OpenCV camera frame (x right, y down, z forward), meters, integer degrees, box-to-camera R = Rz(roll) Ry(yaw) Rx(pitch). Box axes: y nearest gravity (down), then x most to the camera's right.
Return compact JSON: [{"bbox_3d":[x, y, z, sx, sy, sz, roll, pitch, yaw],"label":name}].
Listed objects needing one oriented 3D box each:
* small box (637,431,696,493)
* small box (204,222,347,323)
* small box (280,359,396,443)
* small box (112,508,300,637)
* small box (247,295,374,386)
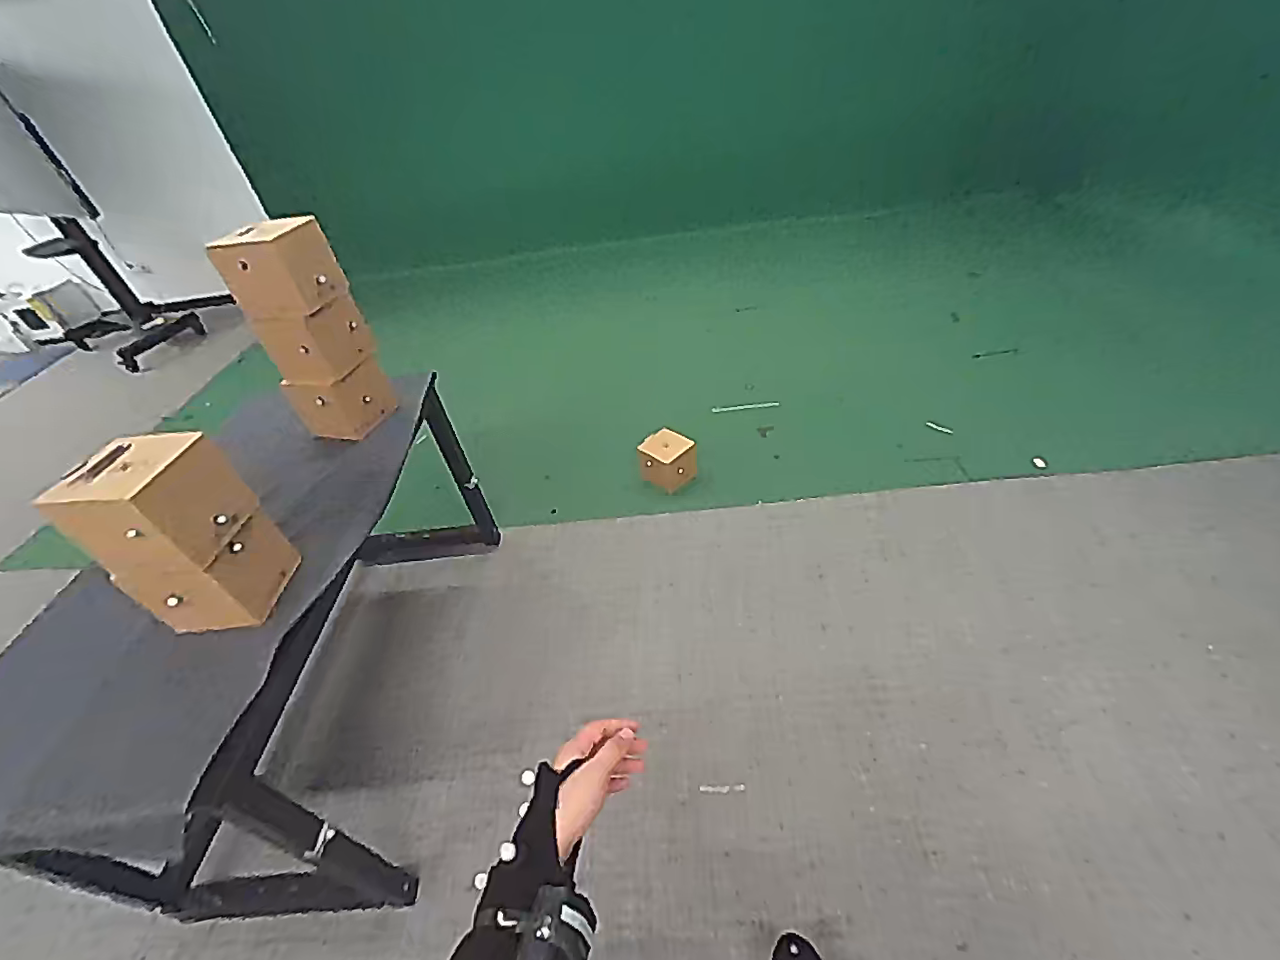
[{"bbox_3d":[0.115,-0.068,2.214,0.168,0.176,0.179,-38,47,-28],"label":"small box"},{"bbox_3d":[-0.826,-0.474,1.246,0.179,0.176,0.168,-1,41,12],"label":"small box"},{"bbox_3d":[-0.793,-0.212,1.440,0.179,0.176,0.168,6,43,21],"label":"small box"},{"bbox_3d":[-0.789,0.176,1.006,0.179,0.176,0.168,-7,41,5],"label":"small box"},{"bbox_3d":[-0.807,-0.346,1.348,0.179,0.176,0.168,2,41,18],"label":"small box"}]
